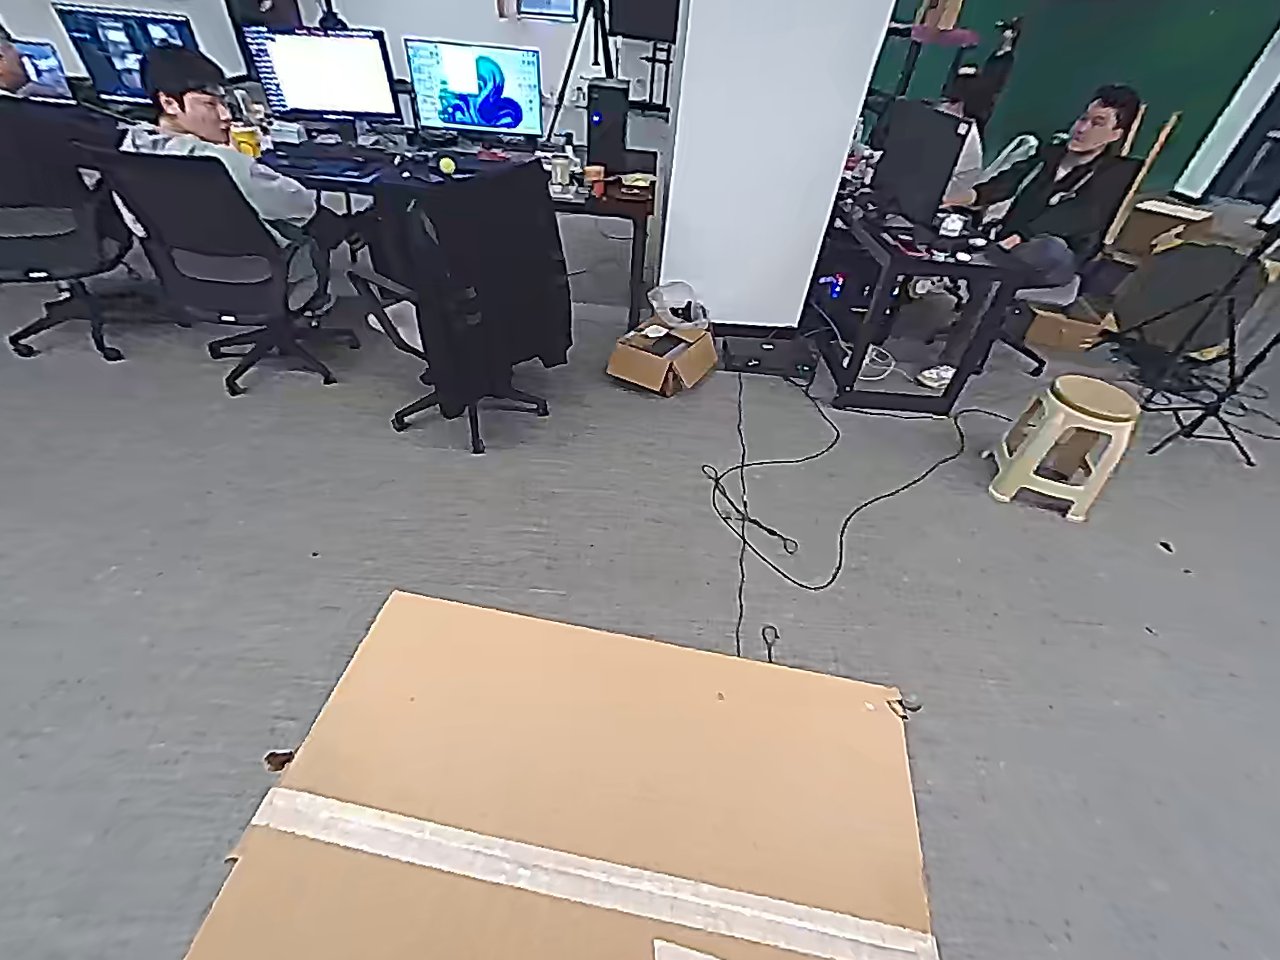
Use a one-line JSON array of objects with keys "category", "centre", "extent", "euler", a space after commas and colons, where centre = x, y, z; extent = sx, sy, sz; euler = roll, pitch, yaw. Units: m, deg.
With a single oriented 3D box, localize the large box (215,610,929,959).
[{"category": "large box", "centre": [-0.037, 0.346, 0.438], "extent": [0.408, 0.320, 0.320], "euler": [10, 48, 4]}]
